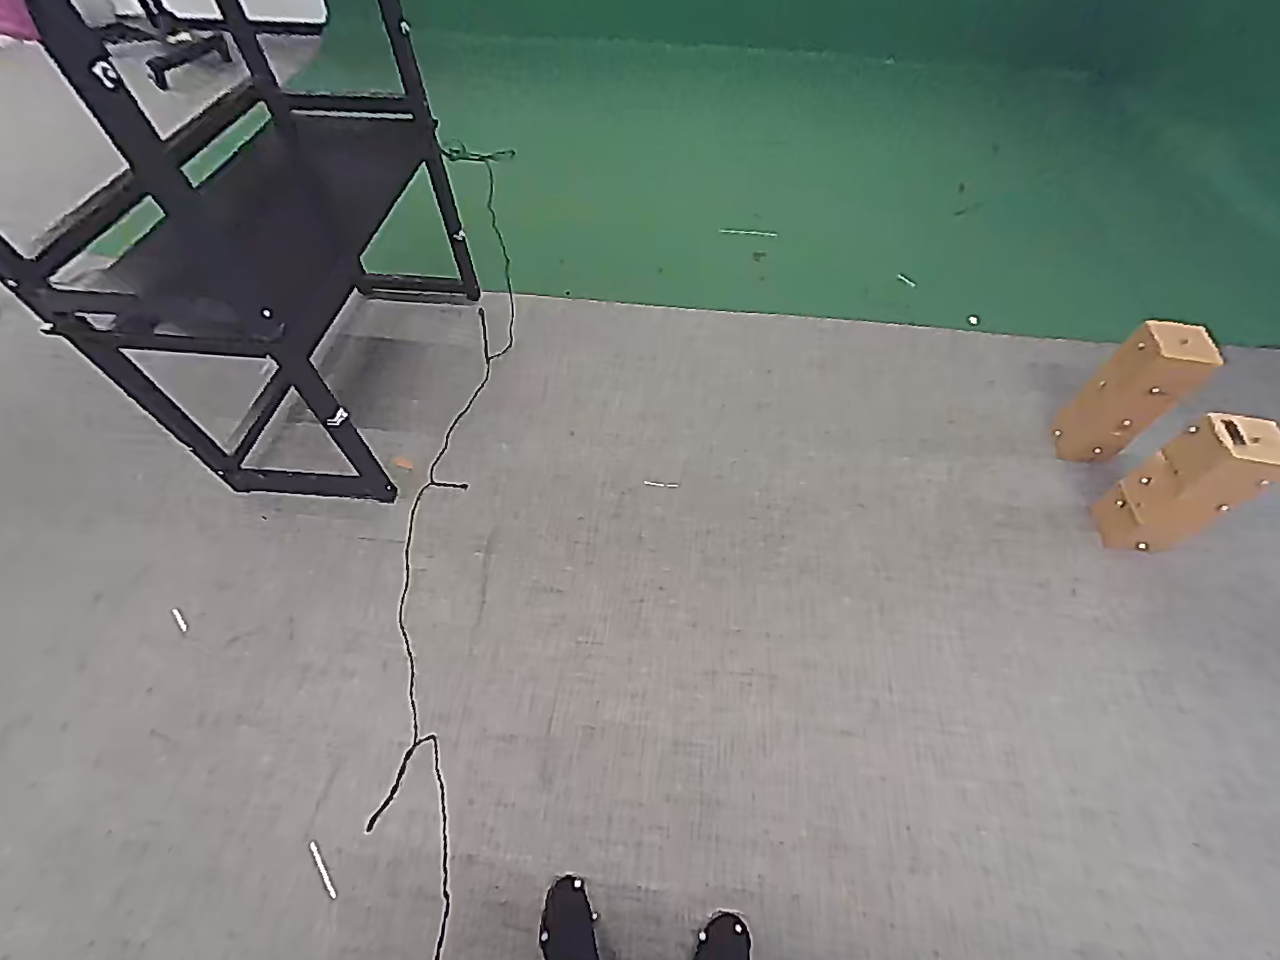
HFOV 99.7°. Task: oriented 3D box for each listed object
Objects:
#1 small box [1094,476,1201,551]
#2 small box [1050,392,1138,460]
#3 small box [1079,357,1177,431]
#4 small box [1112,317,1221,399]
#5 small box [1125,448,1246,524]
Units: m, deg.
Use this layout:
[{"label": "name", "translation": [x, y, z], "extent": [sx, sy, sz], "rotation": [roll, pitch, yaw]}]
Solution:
[{"label": "small box", "translation": [1.650, 0.112, 1.774], "extent": [0.168, 0.176, 0.179], "rotation": [7, 56, 5]}, {"label": "small box", "translation": [1.661, -0.195, 1.988], "extent": [0.168, 0.176, 0.179], "rotation": [8, 56, 5]}, {"label": "small box", "translation": [1.663, -0.295, 1.857], "extent": [0.168, 0.176, 0.179], "rotation": [9, 56, 6]}, {"label": "small box", "translation": [1.665, -0.389, 1.724], "extent": [0.168, 0.176, 0.179], "rotation": [10, 56, 8]}, {"label": "small box", "translation": [1.633, 0.023, 1.639], "extent": [0.179, 0.176, 0.168], "rotation": [4, 55, 2]}]
